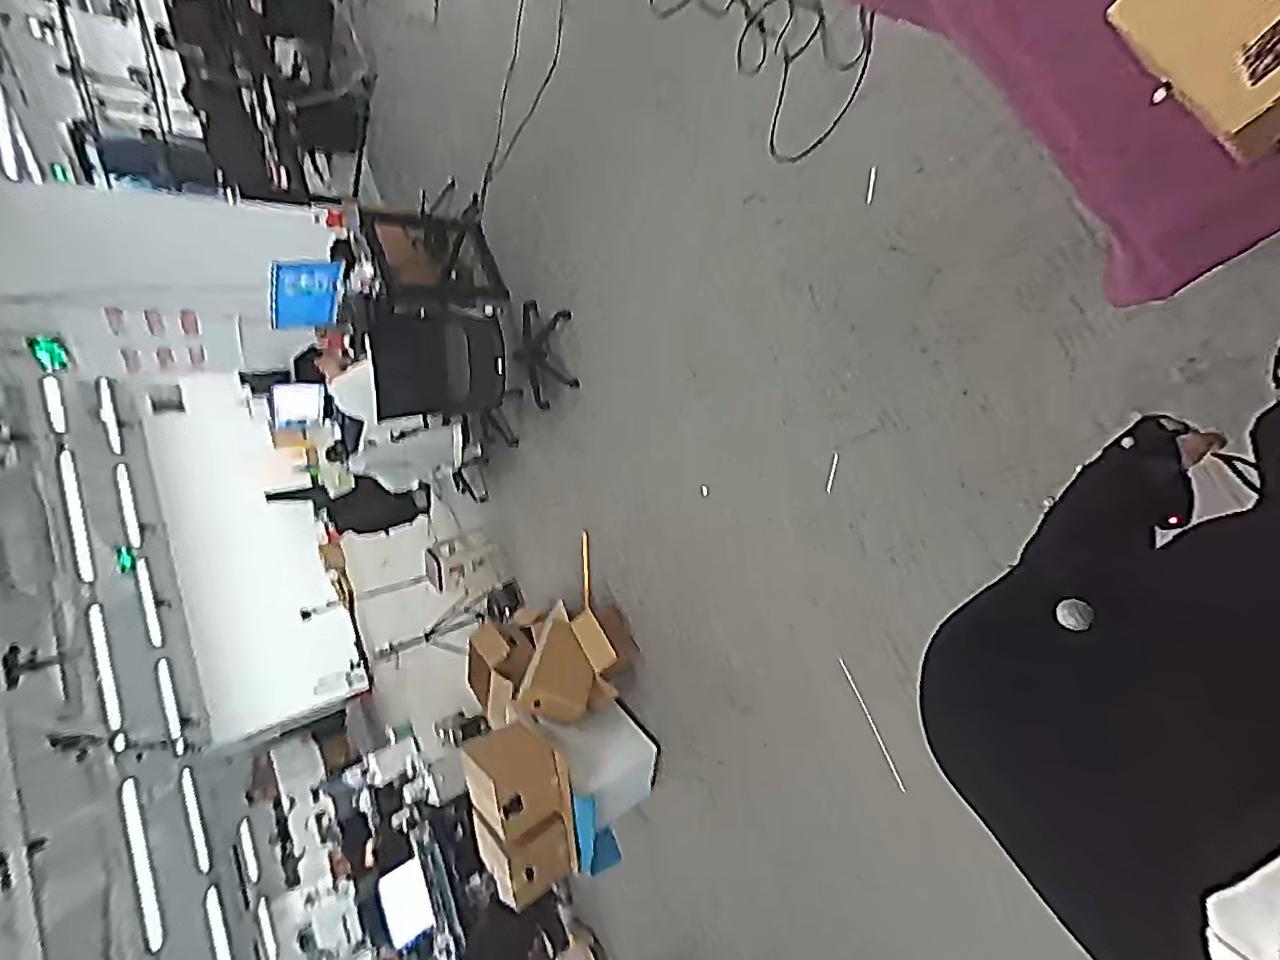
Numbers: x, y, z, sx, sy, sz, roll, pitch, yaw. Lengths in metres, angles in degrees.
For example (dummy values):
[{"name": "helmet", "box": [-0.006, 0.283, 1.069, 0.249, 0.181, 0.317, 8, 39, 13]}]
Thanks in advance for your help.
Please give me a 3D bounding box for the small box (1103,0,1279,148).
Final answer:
[{"name": "small box", "box": [0.587, -0.439, 0.493, 0.168, 0.176, 0.179, -44, 66, 48]}]
